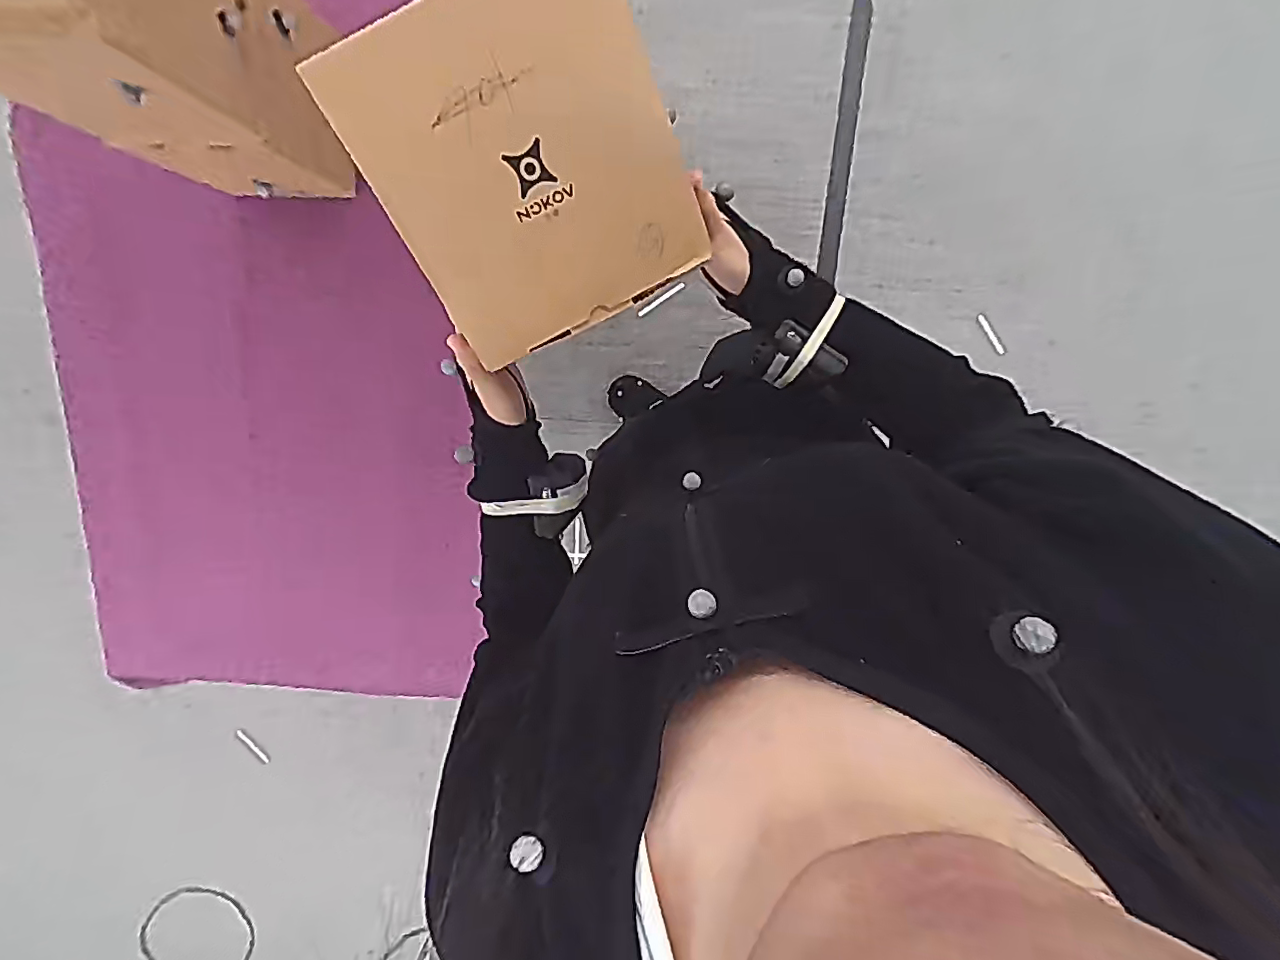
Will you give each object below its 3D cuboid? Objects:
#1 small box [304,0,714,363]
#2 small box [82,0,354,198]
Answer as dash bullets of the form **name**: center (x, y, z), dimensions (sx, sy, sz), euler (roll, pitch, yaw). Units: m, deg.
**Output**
- **small box**: center (-0.073, -0.212, 0.370), dimensions (0.168, 0.176, 0.179), euler (-27, 120, 3)
- **small box**: center (-0.442, -0.431, 0.593), dimensions (0.168, 0.176, 0.179), euler (2, 103, 2)
